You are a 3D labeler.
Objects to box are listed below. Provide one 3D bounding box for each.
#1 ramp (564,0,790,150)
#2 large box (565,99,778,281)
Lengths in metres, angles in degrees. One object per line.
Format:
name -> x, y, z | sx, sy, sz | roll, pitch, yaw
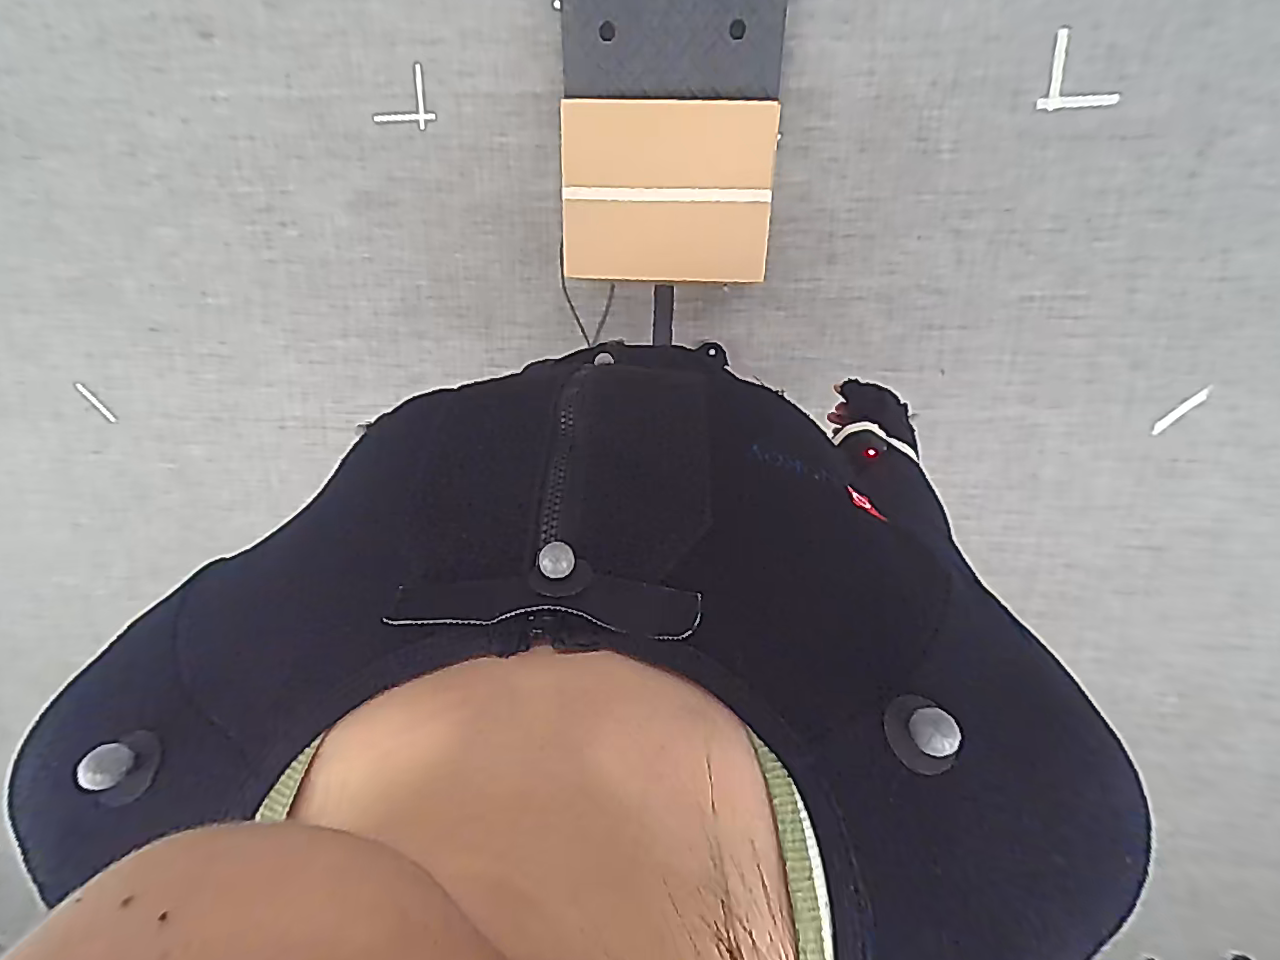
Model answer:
ramp -> 0.080, -1.189, 1.101 | 0.509, 0.206, 0.991 | 0, 105, 3
large box -> 0.068, -0.605, 1.188 | 0.408, 0.320, 0.320 | 2, 108, 3
